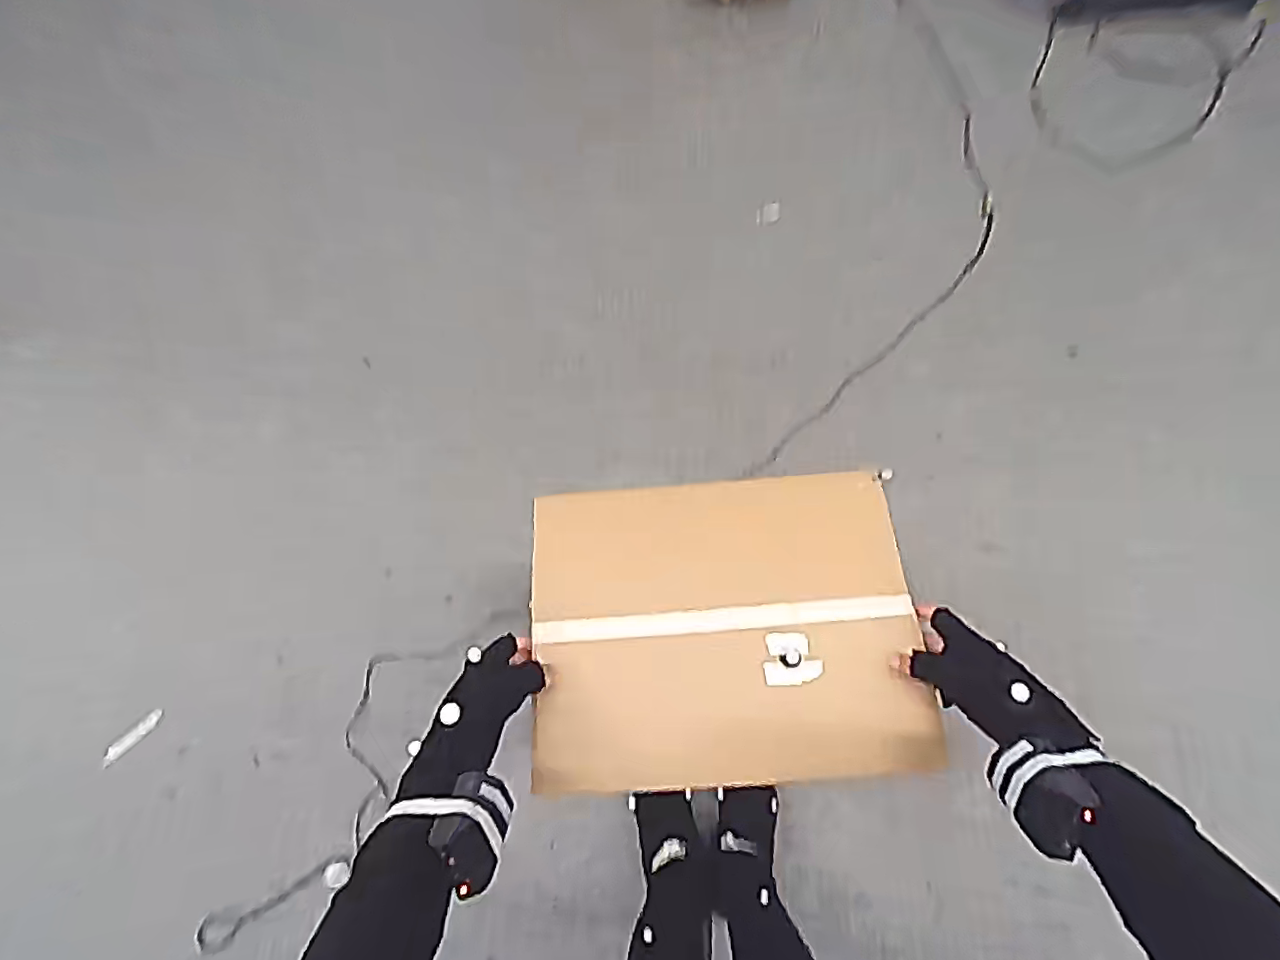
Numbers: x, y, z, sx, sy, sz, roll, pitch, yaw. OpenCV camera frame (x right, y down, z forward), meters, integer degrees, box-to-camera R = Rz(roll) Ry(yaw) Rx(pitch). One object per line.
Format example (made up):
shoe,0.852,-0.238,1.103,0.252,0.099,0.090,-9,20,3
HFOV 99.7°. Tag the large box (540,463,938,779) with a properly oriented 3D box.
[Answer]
large box,0.095,0.193,0.728,0.408,0.320,0.320,-5,69,1
